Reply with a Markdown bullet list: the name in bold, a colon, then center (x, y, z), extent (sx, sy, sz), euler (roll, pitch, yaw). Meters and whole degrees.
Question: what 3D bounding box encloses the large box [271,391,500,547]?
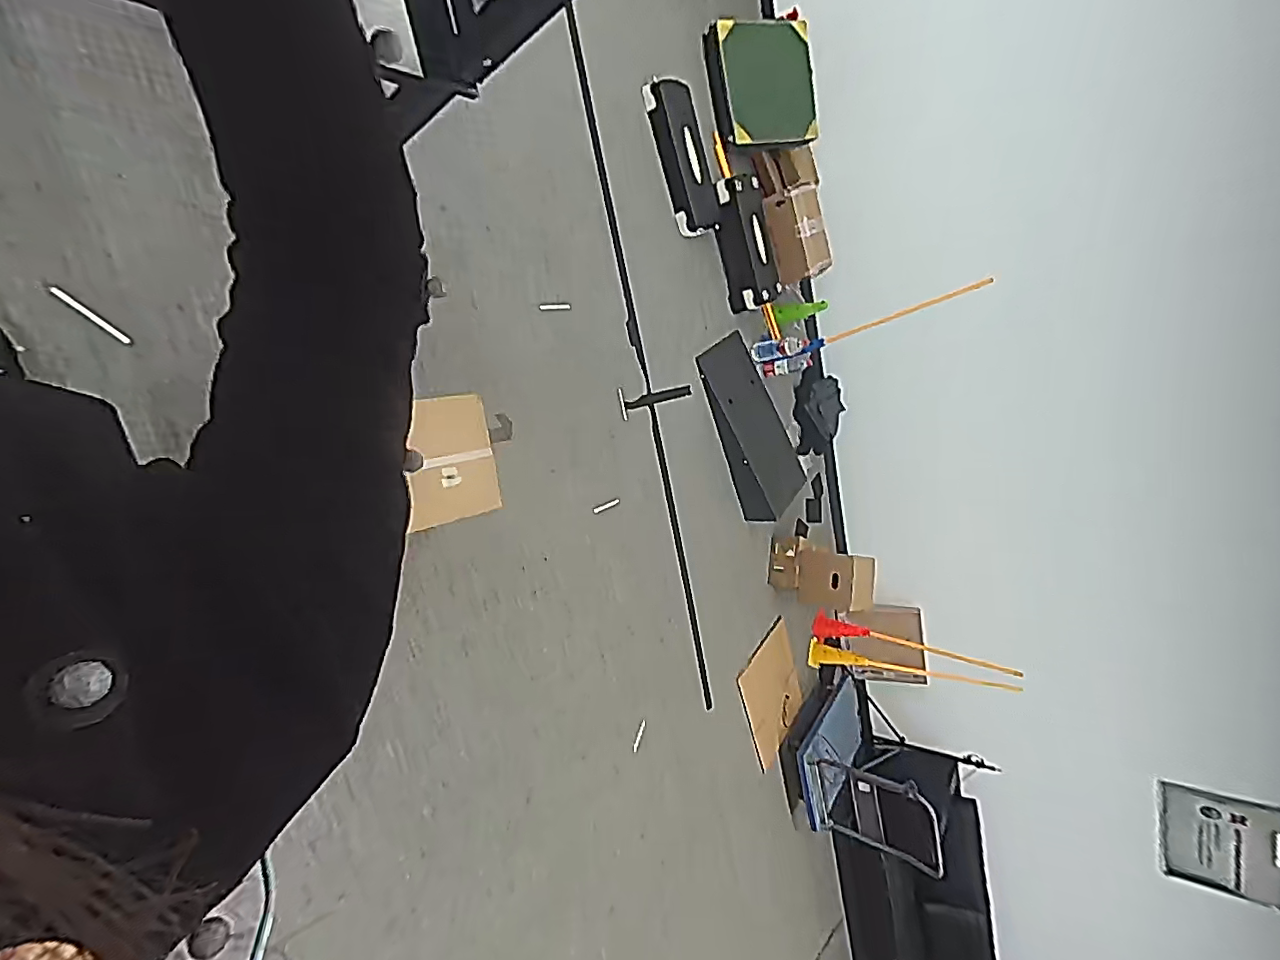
- **large box**: center (-0.638, -0.038, 1.385), extent (0.408, 0.320, 0.320), euler (-18, 103, -50)
